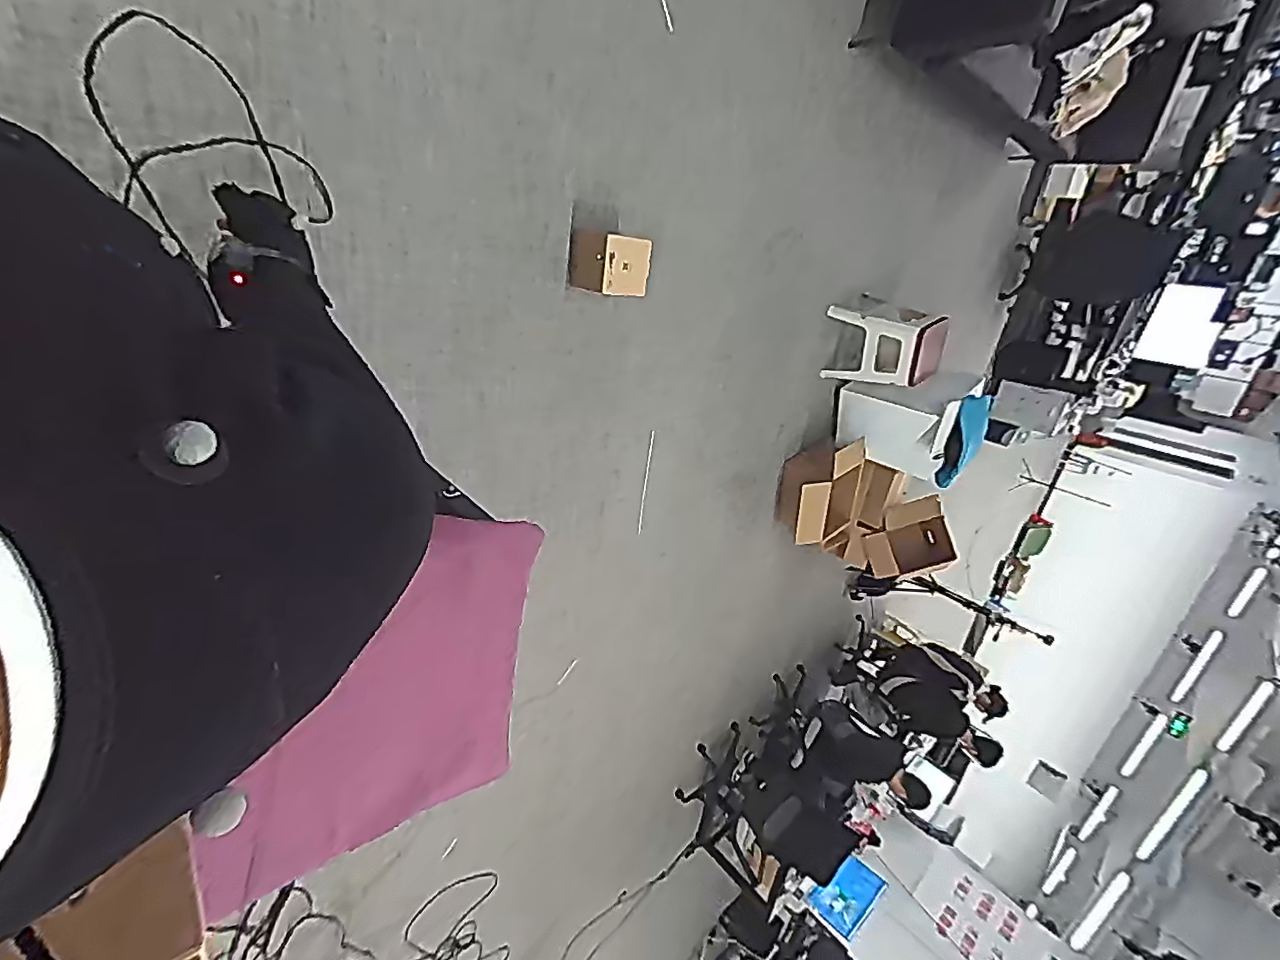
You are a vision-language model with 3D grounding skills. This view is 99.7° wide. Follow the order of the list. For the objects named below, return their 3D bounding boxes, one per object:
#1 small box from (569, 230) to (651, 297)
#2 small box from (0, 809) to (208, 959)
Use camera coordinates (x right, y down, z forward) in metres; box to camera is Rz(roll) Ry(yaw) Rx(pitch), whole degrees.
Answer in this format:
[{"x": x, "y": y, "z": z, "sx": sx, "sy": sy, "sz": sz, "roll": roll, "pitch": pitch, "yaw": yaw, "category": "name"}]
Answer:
[{"x": -0.095, "y": -0.669, "z": 1.667, "sx": 0.179, "sy": 0.176, "sz": 0.168, "roll": -13, "pitch": 120, "yaw": -42, "category": "small box"}, {"x": -0.519, "y": 0.466, "z": 0.511, "sx": 0.168, "sy": 0.176, "sz": 0.179, "roll": -10, "pitch": 118, "yaw": -43, "category": "small box"}]
